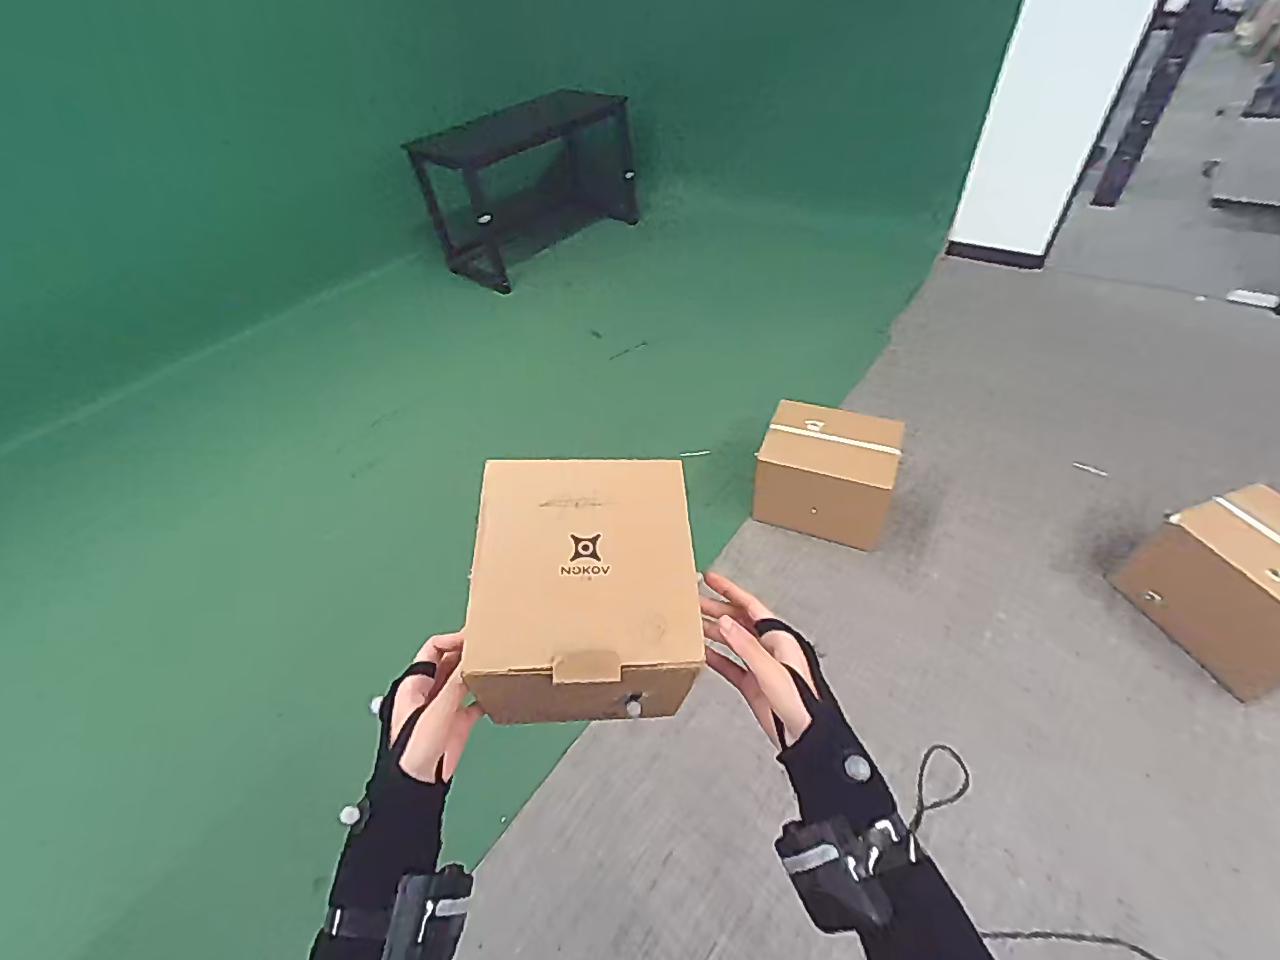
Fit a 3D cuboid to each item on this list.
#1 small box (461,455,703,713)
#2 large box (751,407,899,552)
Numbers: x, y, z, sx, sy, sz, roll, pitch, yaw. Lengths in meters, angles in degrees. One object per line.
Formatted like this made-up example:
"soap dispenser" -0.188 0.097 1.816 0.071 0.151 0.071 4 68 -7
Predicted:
"small box" -0.046 0.098 0.471 0.168 0.176 0.179 1 55 -6
"large box" 0.614 -0.005 1.817 0.408 0.320 0.320 14 49 21
